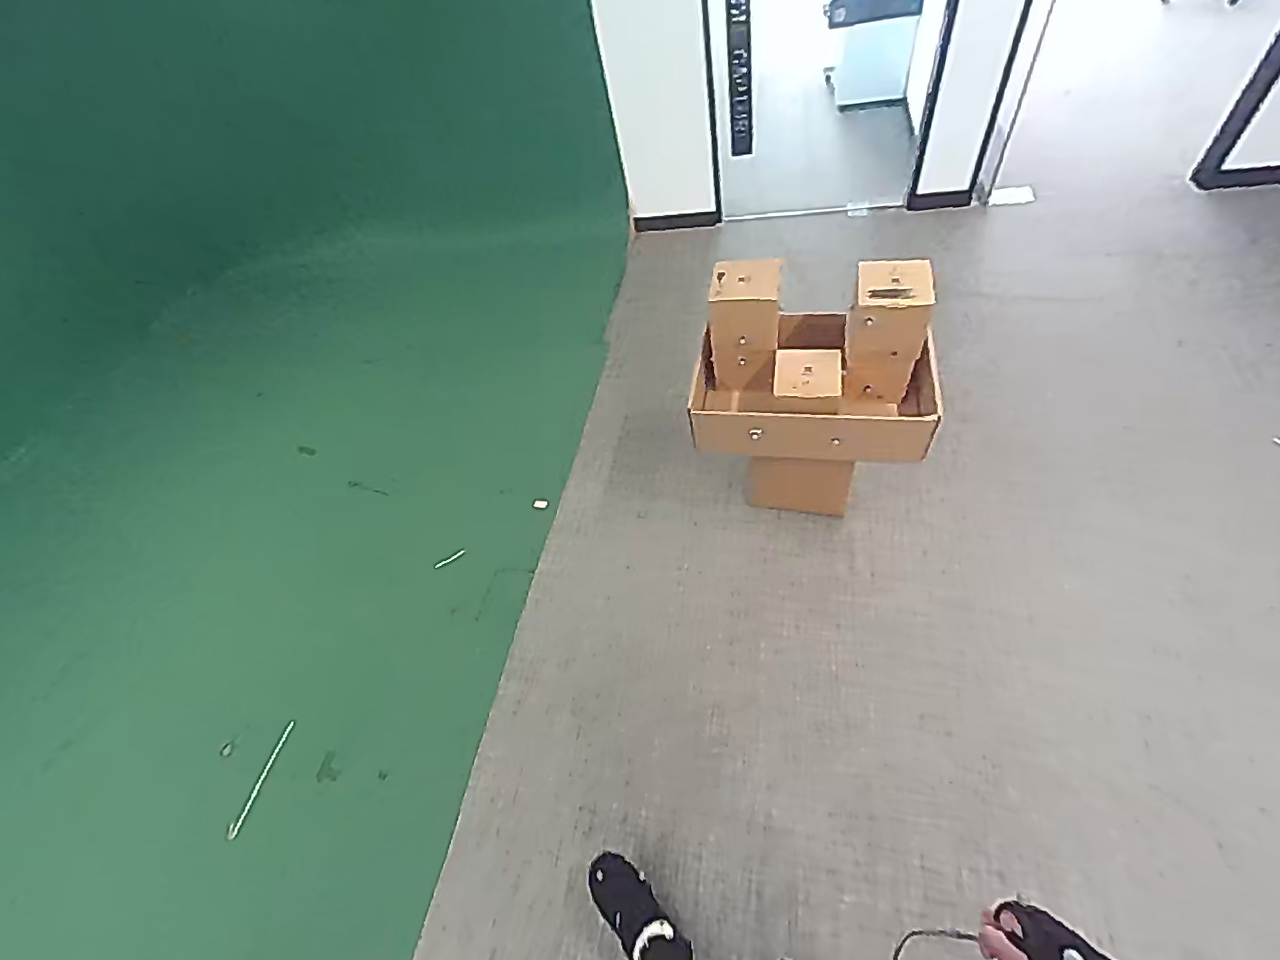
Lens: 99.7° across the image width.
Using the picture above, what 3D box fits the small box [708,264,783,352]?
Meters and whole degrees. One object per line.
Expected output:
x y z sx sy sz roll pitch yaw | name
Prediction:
0.286 -0.462 1.462 0.179 0.176 0.168 4 56 14 | small box
